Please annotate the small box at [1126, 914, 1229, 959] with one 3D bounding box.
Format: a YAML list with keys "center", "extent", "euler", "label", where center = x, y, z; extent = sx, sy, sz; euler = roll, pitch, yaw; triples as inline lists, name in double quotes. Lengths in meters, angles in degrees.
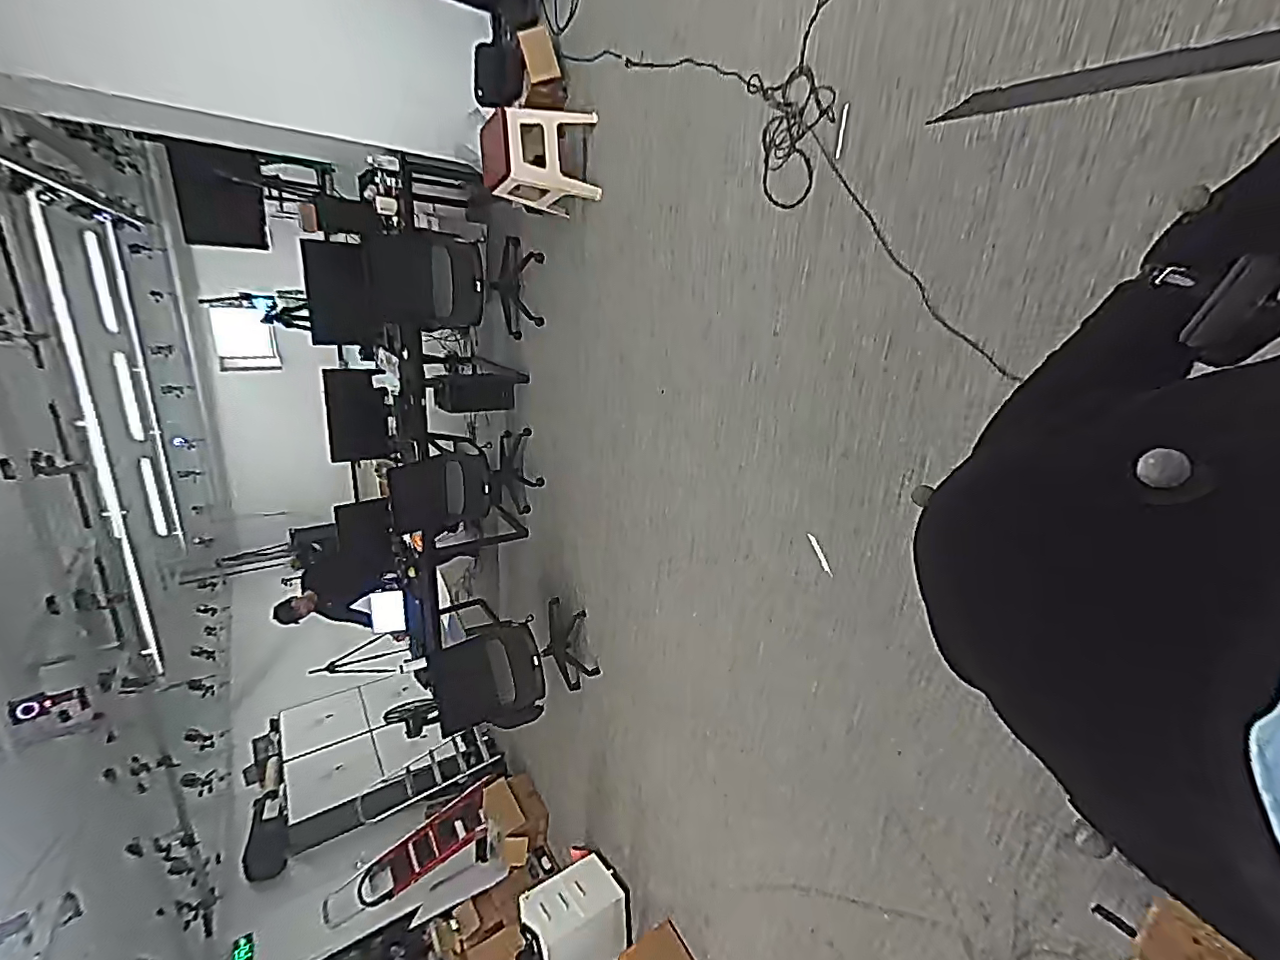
- center: [1.042, 0.991, 1.029]
  extent: [0.168, 0.176, 0.179]
  euler: [34, 126, 48]
  label: "small box"
